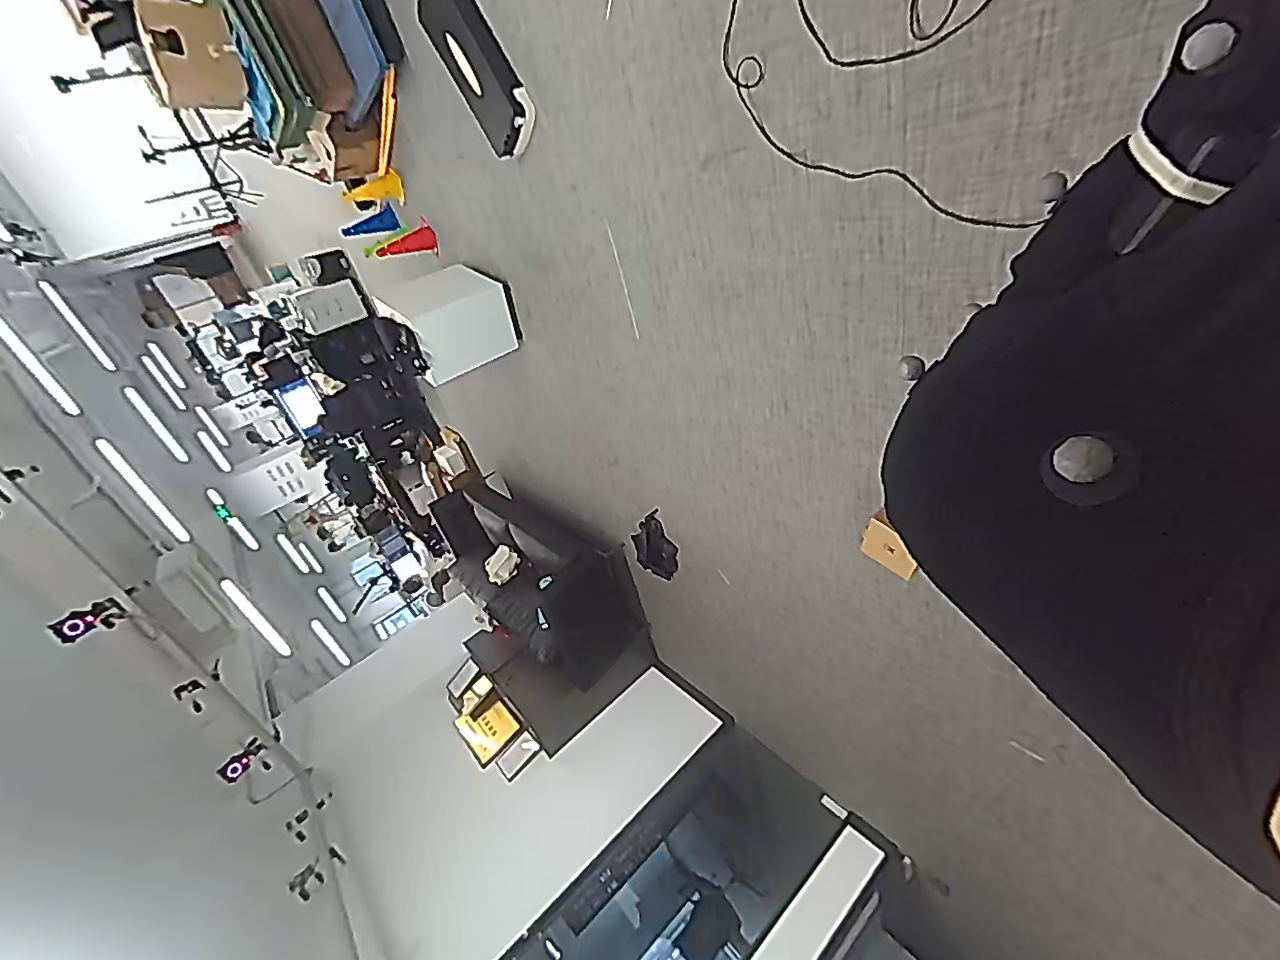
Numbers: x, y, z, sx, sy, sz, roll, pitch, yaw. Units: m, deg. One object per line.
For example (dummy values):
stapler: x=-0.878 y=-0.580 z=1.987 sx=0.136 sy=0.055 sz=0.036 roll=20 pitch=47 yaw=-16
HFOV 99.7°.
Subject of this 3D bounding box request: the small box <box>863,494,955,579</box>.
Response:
small box: x=0.838 y=0.167 z=1.687 sx=0.179 sy=0.176 sz=0.168 roll=36 pitch=148 yaw=33
